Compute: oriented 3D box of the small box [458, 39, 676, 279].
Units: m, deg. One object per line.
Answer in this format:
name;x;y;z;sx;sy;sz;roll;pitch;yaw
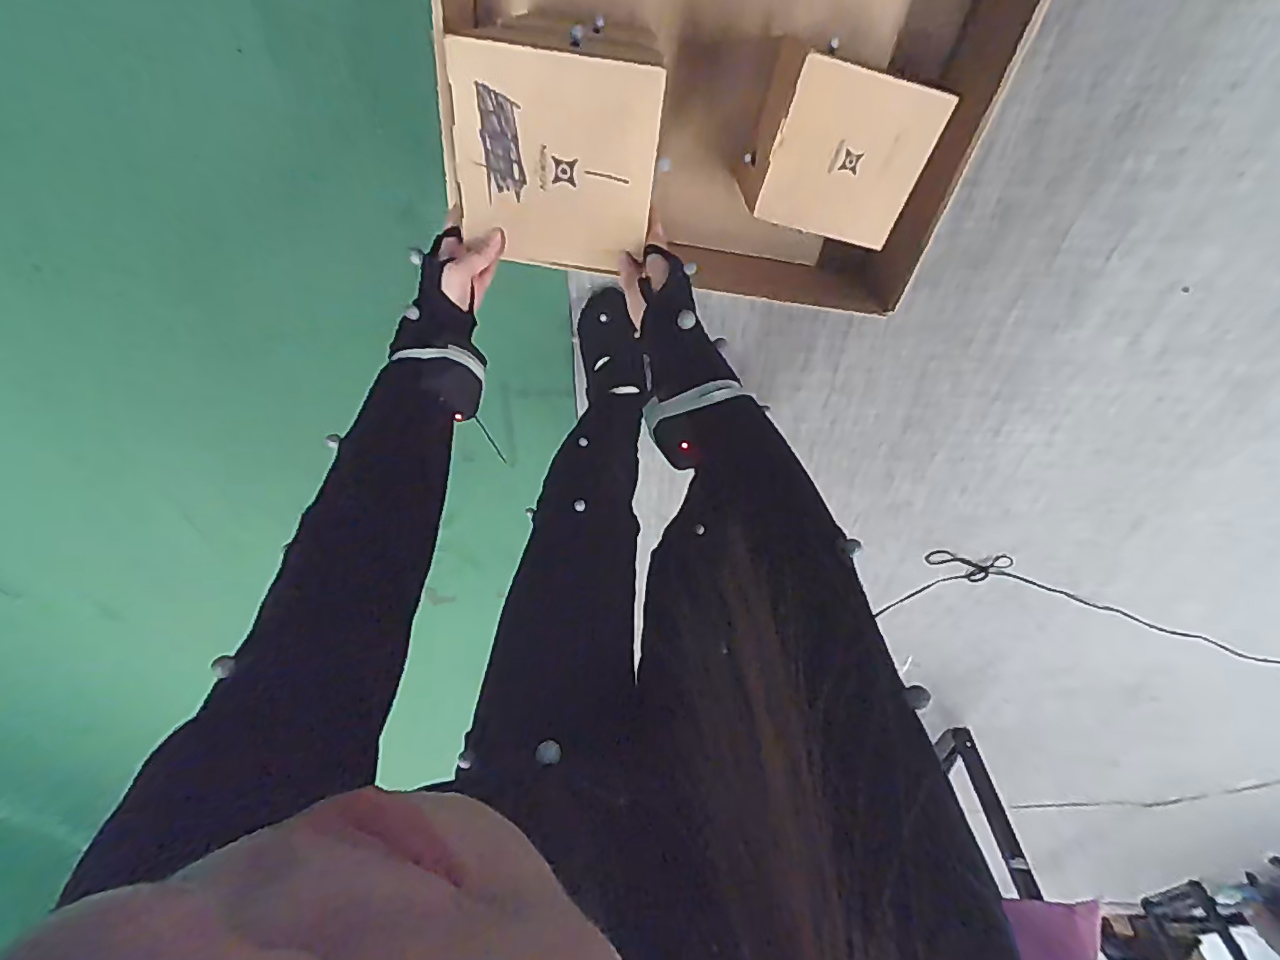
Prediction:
small box;-0.065;-0.321;0.537;0.179;0.176;0.168;6;131;-4
